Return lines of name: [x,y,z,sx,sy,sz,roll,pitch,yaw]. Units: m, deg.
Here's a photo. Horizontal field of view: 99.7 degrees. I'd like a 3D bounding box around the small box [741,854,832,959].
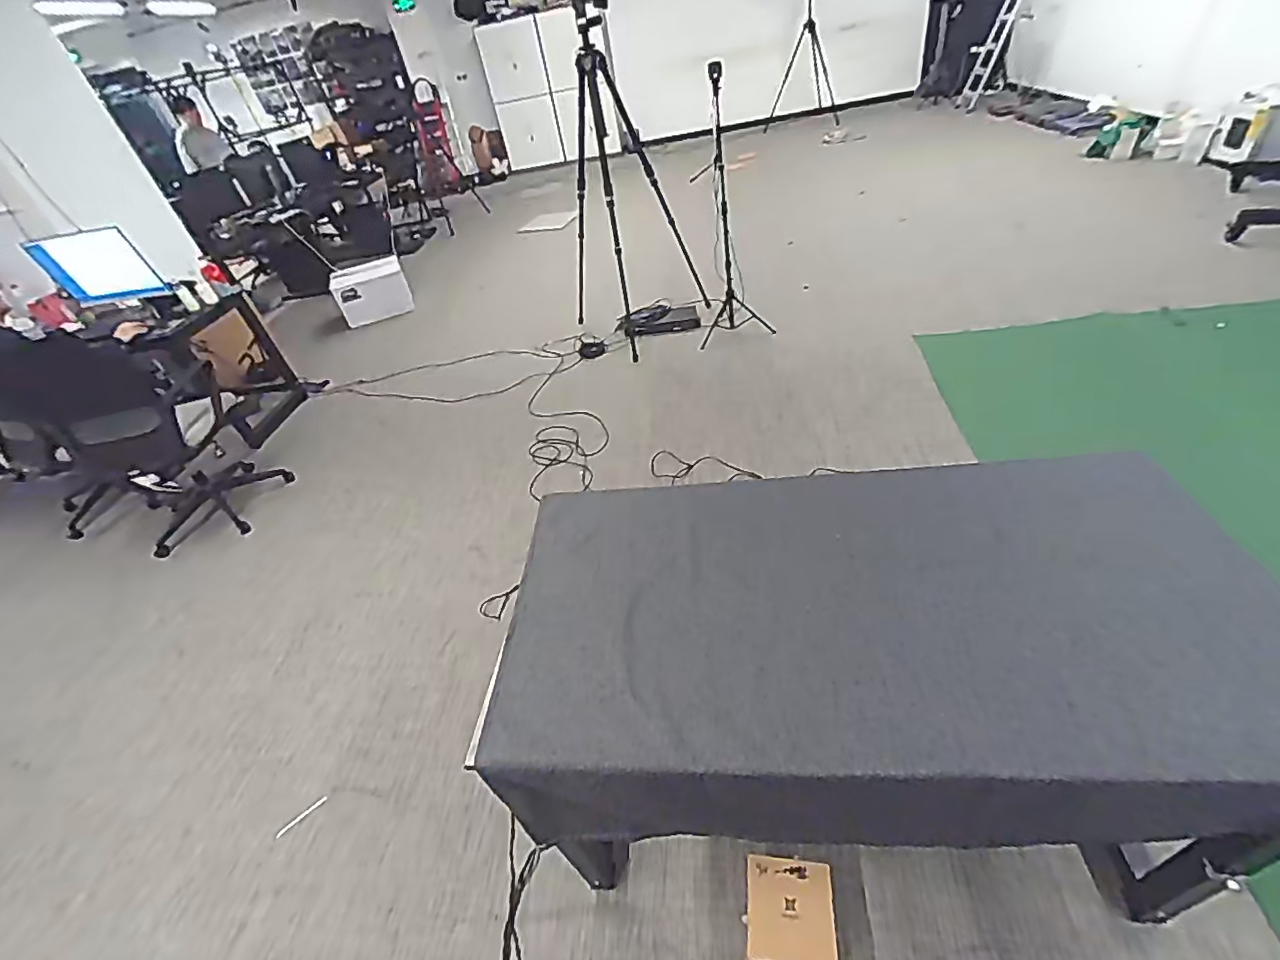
small box: [0.297,0.895,1.095,0.168,0.176,0.179,-2,41,14]
